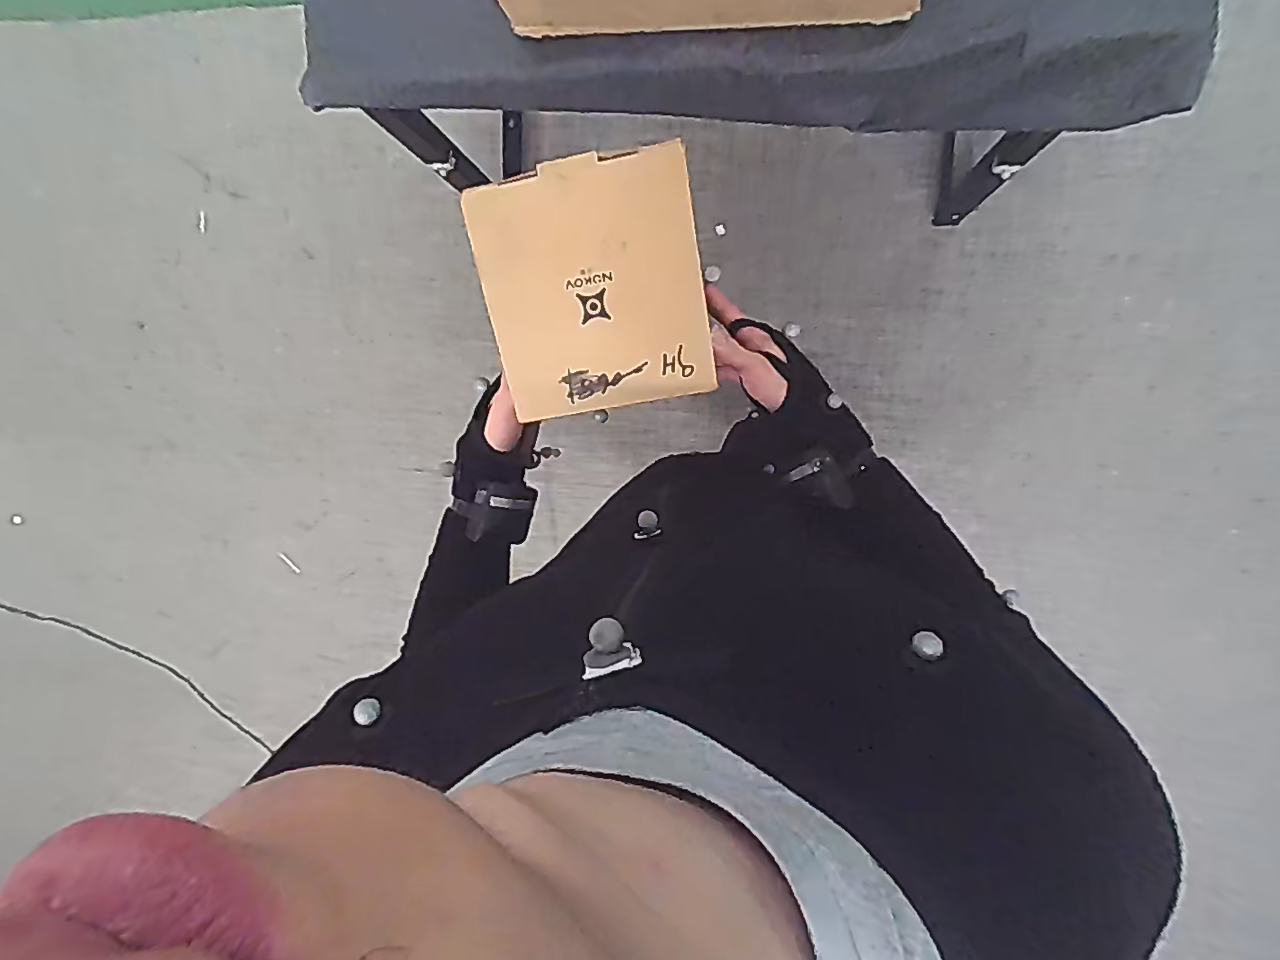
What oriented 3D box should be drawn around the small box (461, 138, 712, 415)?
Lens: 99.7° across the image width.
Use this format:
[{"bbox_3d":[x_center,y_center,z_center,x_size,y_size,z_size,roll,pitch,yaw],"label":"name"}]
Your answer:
[{"bbox_3d":[-0.030,-0.168,0.480,0.168,0.176,0.179,-7,108,10],"label":"small box"}]
